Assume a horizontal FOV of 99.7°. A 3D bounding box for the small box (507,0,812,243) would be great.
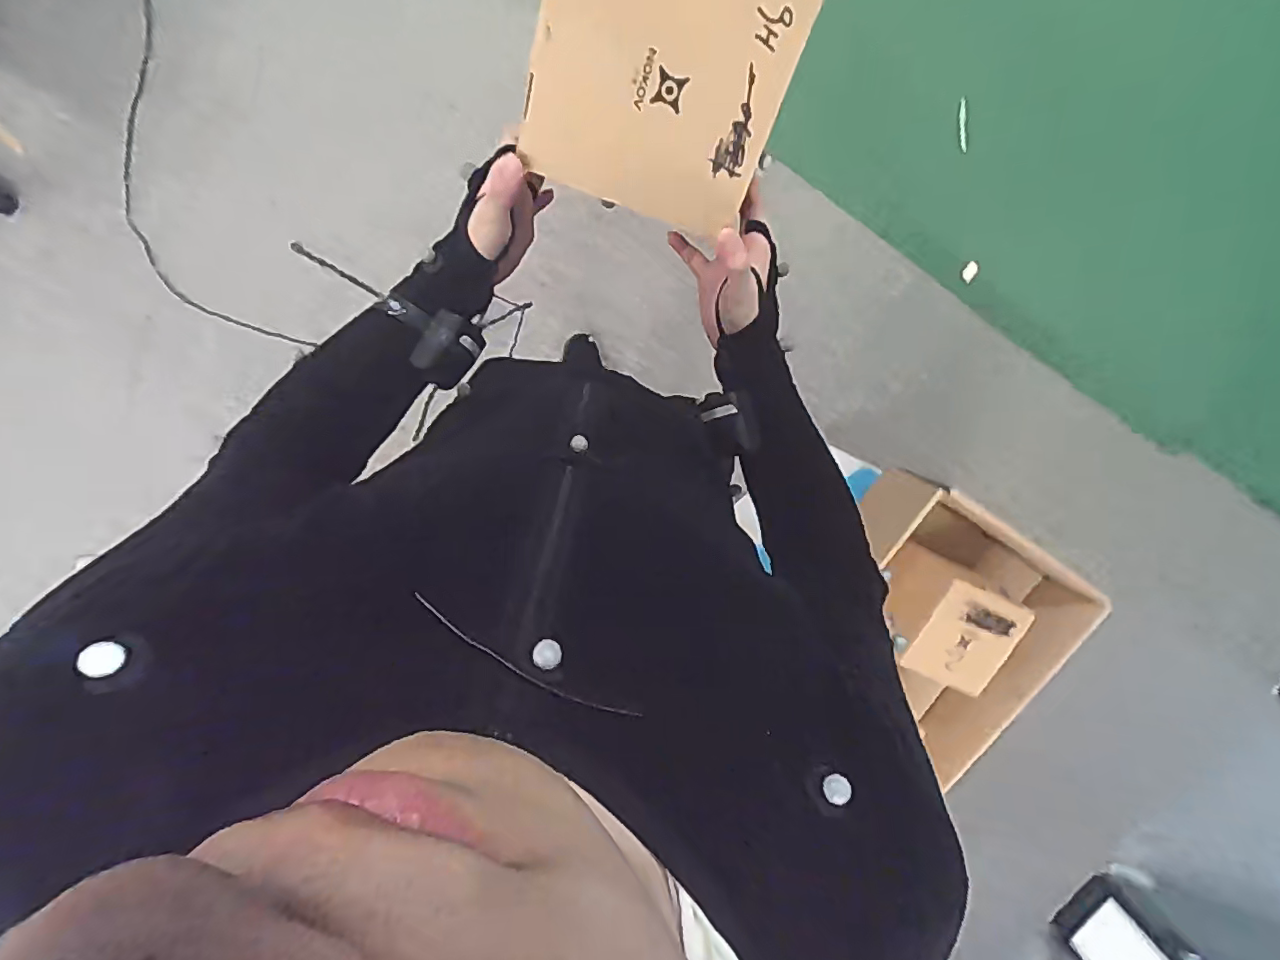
[{"bbox_3d":[0.010,-0.320,0.449,0.179,0.176,0.168,17,122,-7],"label":"small box"}]
